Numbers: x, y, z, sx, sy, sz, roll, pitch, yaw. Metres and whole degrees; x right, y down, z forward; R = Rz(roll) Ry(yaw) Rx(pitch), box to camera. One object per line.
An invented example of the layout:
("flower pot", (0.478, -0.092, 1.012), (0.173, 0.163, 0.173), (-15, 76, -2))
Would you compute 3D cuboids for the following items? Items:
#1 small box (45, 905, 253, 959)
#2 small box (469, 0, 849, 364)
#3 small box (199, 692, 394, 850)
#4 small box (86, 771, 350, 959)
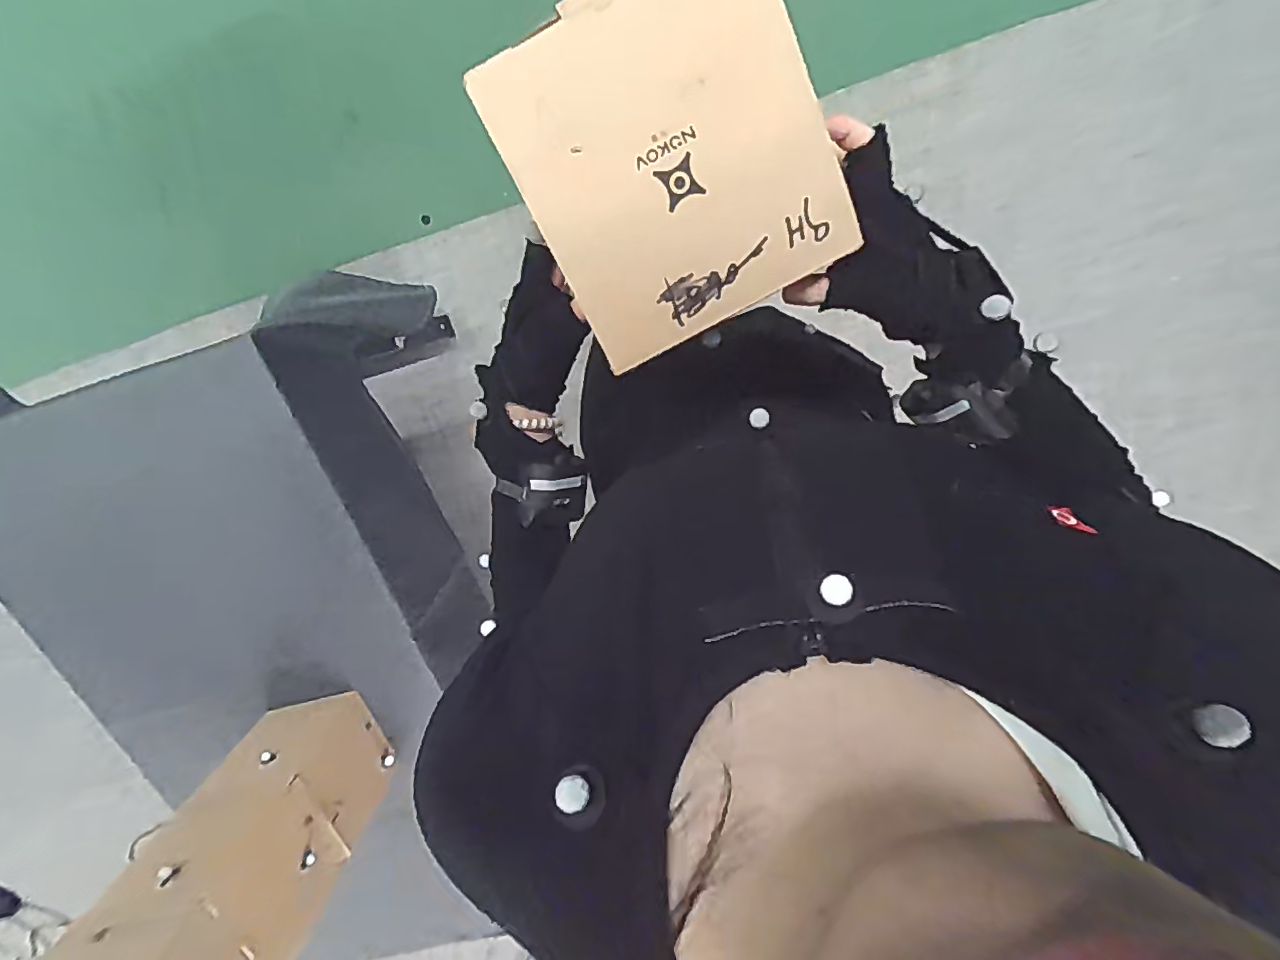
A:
("small box", (-0.532, 0.573, 0.551), (0.168, 0.176, 0.179), (-14, 108, 7))
("small box", (0.012, -0.201, 0.382), (0.168, 0.176, 0.179), (-26, 107, 6))
("small box", (-0.523, 0.466, 0.860), (0.179, 0.176, 0.168), (-16, 108, 9))
("small box", (-0.528, 0.520, 0.707), (0.179, 0.176, 0.168), (-16, 108, 7))
